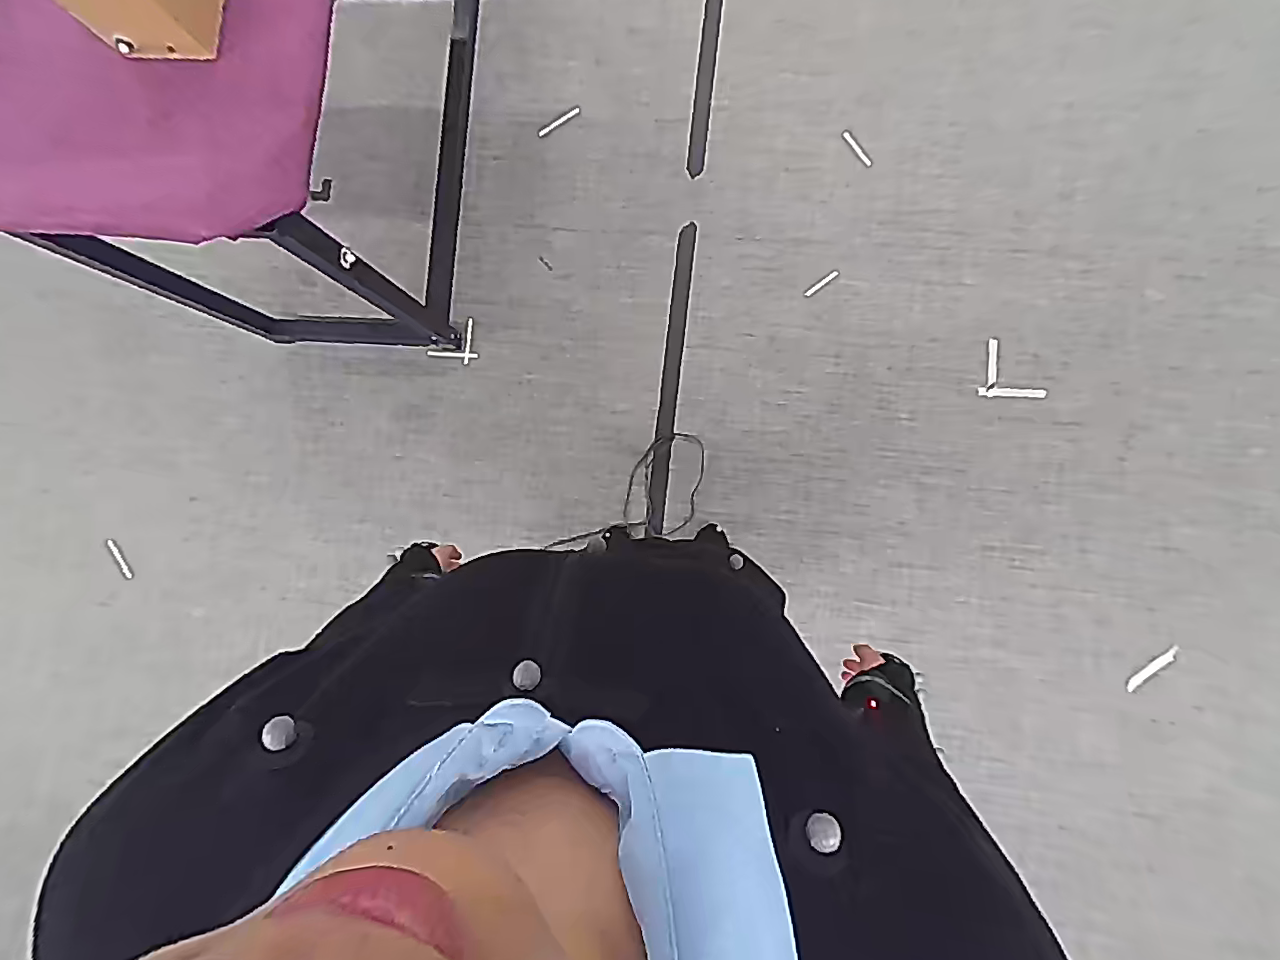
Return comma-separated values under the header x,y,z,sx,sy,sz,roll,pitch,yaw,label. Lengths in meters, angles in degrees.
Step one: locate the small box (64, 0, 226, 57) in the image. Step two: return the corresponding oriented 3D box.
x,y,z,sx,sy,sz,roll,pitch,yaw,label
-0.762,-0.780,0.809,0.168,0.176,0.179,5,87,5,small box
